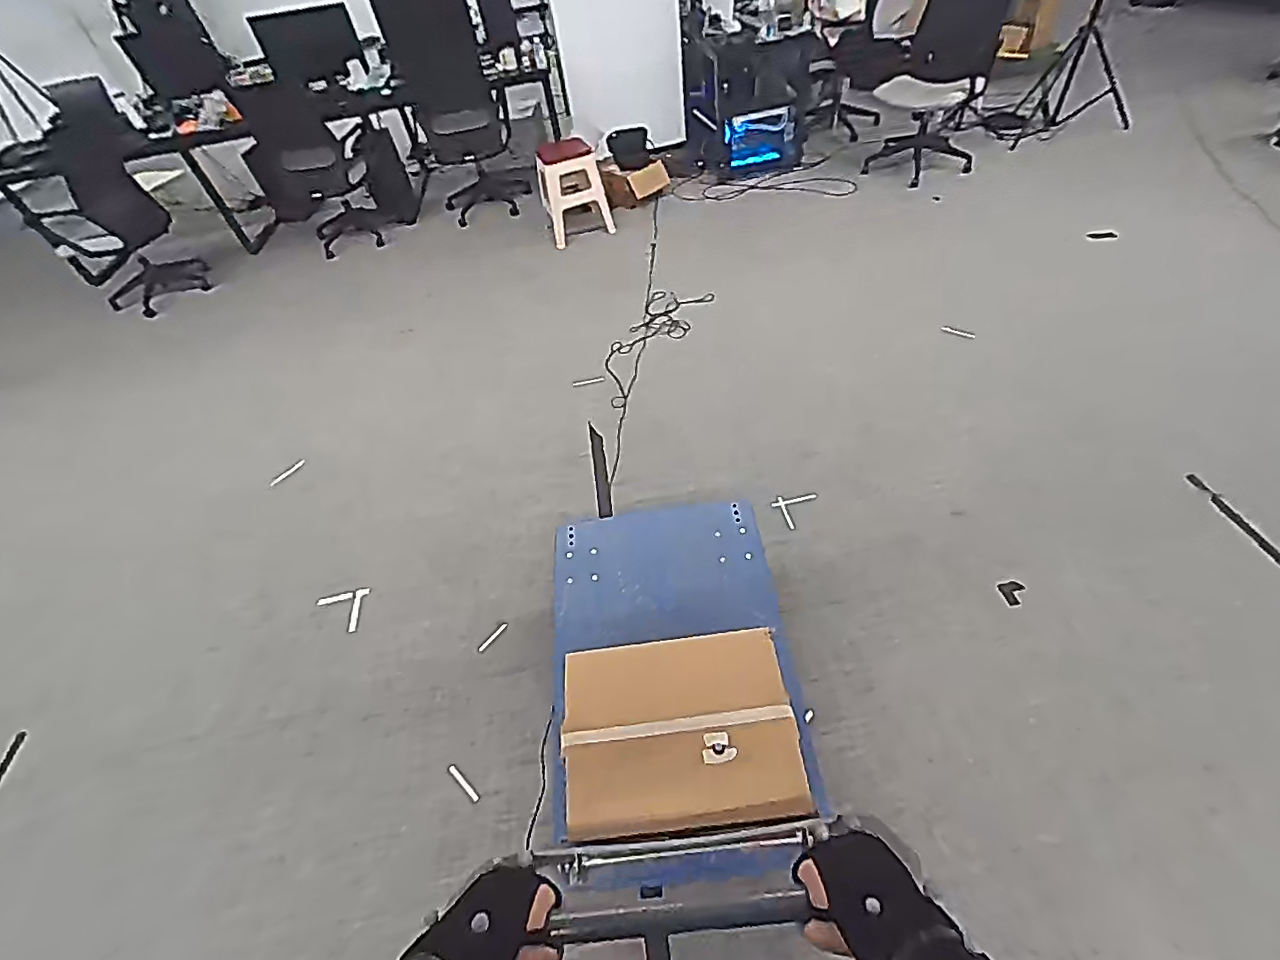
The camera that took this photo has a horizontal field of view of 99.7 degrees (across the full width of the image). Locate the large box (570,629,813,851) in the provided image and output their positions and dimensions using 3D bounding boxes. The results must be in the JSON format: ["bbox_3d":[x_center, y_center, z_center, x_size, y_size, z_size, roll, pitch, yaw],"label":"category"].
[{"bbox_3d":[0.088,0.532,1.092,0.408,0.320,0.320,-9,54,1],"label":"large box"}]
